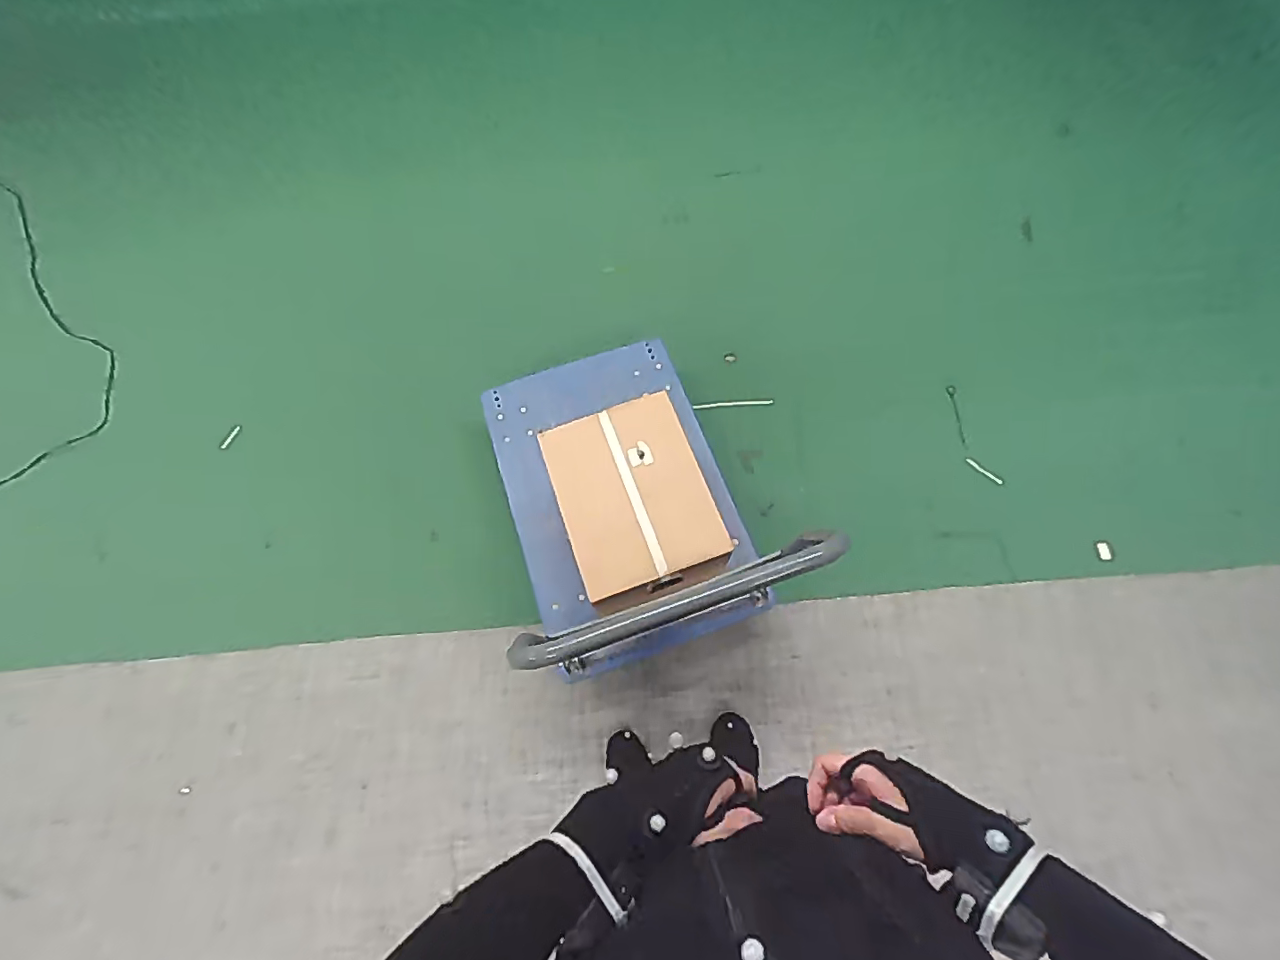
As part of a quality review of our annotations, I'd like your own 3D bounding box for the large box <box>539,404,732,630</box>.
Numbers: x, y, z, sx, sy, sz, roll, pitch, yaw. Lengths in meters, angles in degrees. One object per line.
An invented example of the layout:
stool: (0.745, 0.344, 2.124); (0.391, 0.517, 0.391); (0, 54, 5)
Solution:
large box: (-0.010, 0.100, 1.304); (0.320, 0.320, 0.408); (-19, 67, -5)
